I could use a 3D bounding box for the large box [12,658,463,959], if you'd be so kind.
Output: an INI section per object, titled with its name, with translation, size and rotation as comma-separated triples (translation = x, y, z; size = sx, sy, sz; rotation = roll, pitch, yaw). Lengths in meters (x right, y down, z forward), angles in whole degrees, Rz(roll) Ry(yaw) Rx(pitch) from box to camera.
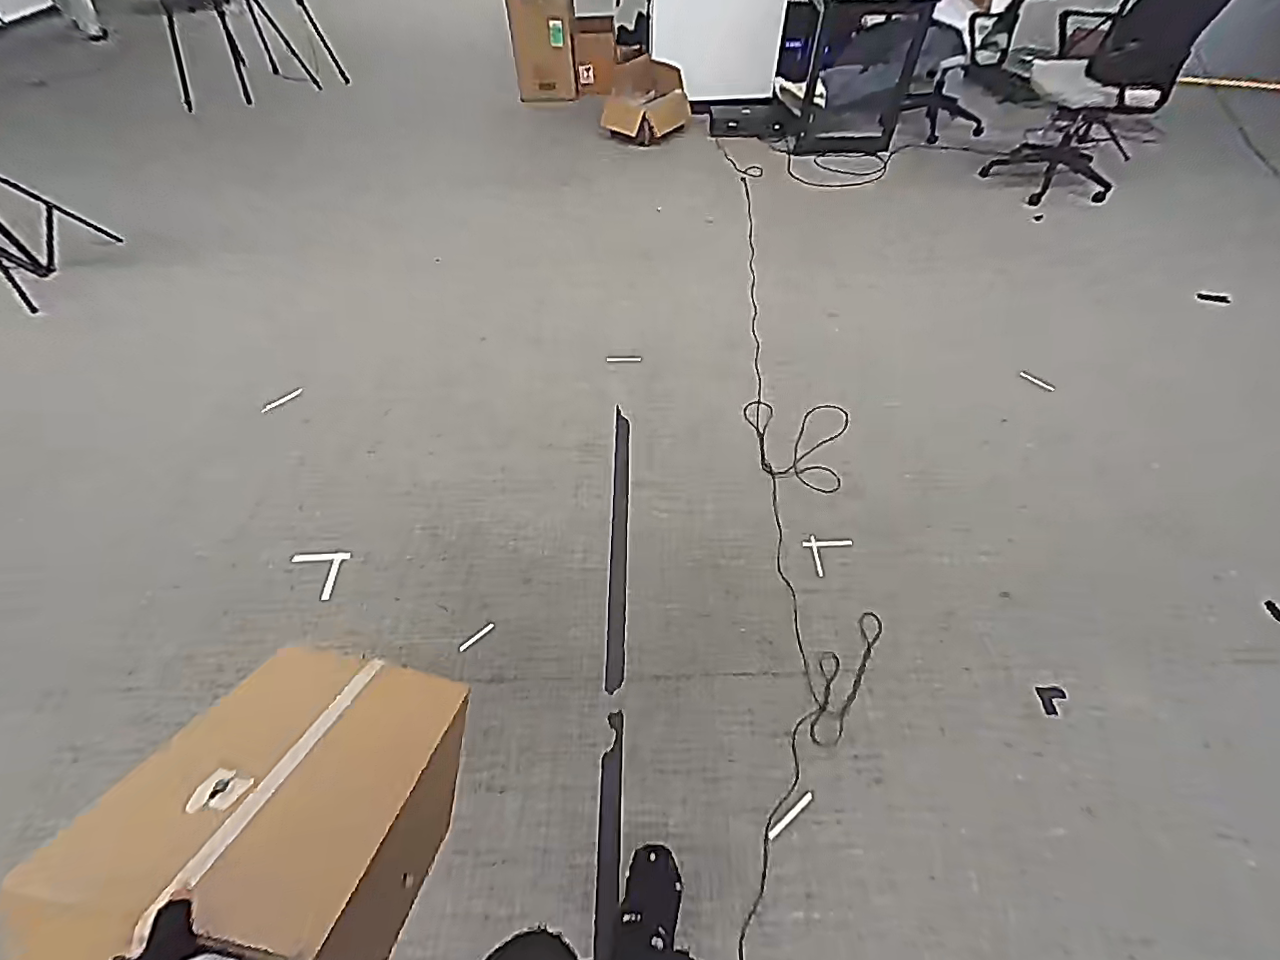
[large box]
translation = -0.483, 0.523, 0.751
size = 0.320, 0.320, 0.408
rotation = 12, 17, 1
